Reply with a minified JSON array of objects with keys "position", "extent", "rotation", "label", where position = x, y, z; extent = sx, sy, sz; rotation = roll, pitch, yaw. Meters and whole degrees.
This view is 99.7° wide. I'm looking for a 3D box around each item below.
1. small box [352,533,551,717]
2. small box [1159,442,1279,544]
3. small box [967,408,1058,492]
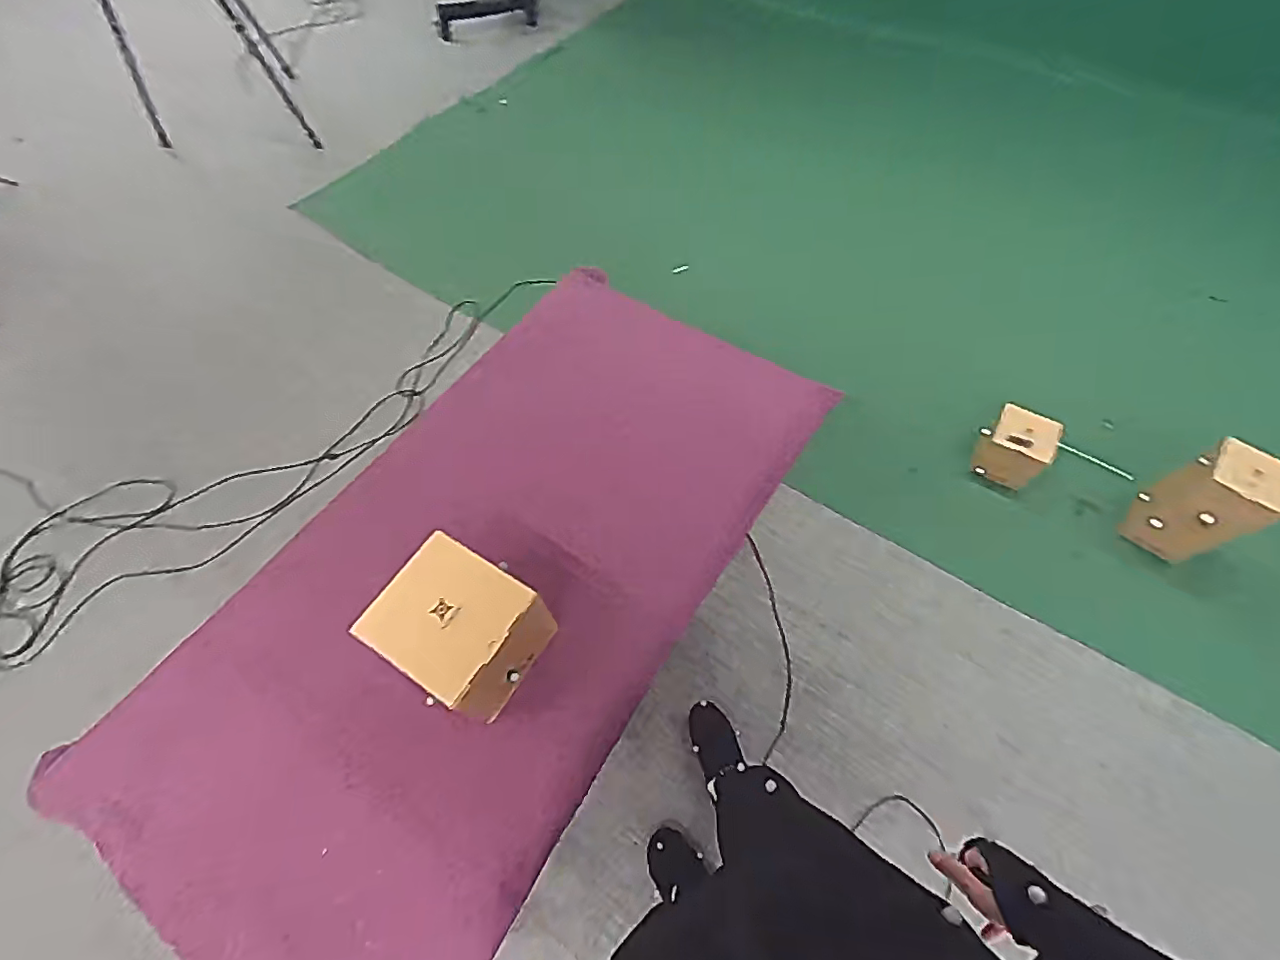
[{"position":[-0.249,0.210,0.757],"extent":[0.179,0.176,0.168],"rotation":[28,64,15],"label":"small box"},{"position":[1.575,0.039,1.463],"extent":[0.168,0.176,0.179],"rotation":[37,67,20],"label":"small box"},{"position":[1.186,-0.091,1.734],"extent":[0.168,0.176,0.179],"rotation":[28,64,16],"label":"small box"}]
